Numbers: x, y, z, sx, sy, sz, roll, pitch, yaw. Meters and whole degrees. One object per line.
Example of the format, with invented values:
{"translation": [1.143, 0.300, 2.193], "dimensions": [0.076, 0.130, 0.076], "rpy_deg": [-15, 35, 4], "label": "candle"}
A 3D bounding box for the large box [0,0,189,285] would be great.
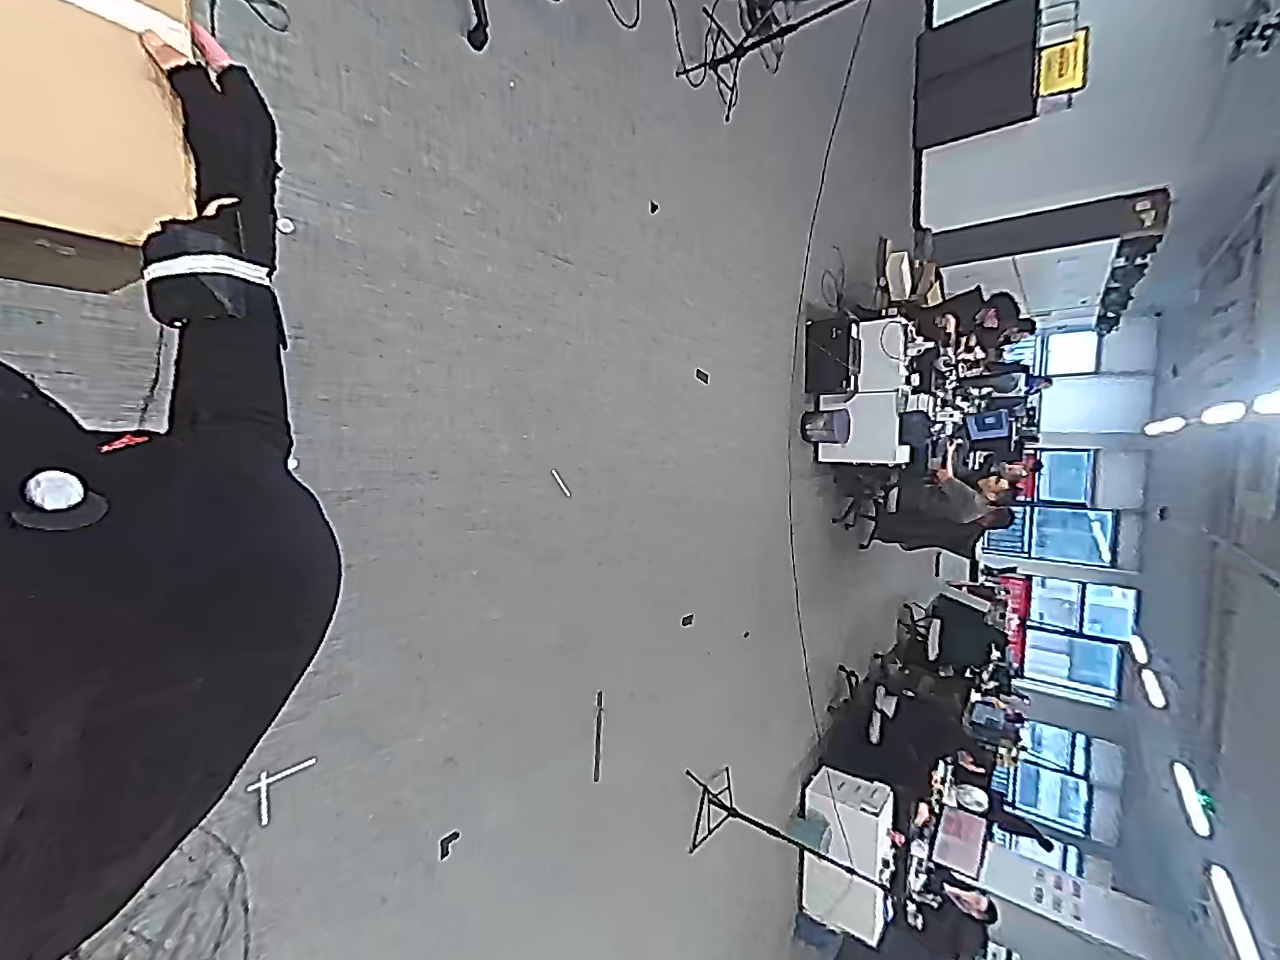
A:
{"translation": [-0.595, -0.337, 0.344], "dimensions": [0.408, 0.320, 0.320], "rpy_deg": [-6, 102, -54], "label": "large box"}
